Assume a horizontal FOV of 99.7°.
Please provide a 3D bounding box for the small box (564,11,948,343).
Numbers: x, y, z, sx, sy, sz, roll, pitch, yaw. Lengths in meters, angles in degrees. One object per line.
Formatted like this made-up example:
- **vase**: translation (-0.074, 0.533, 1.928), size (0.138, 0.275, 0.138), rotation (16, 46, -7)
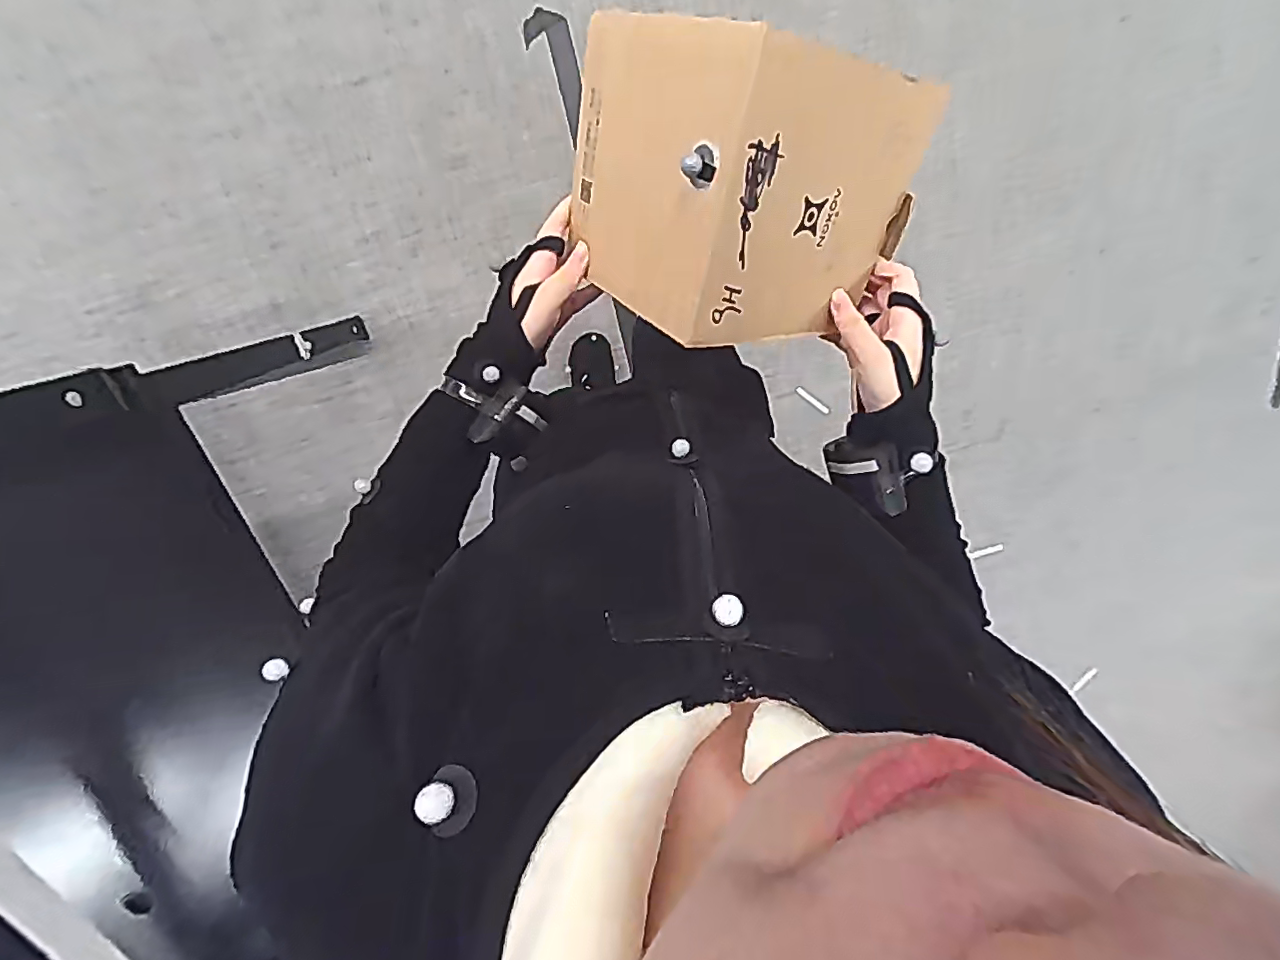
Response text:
- **small box**: translation (0.068, -0.212, 0.390), size (0.179, 0.176, 0.168), rotation (-14, 132, -34)
